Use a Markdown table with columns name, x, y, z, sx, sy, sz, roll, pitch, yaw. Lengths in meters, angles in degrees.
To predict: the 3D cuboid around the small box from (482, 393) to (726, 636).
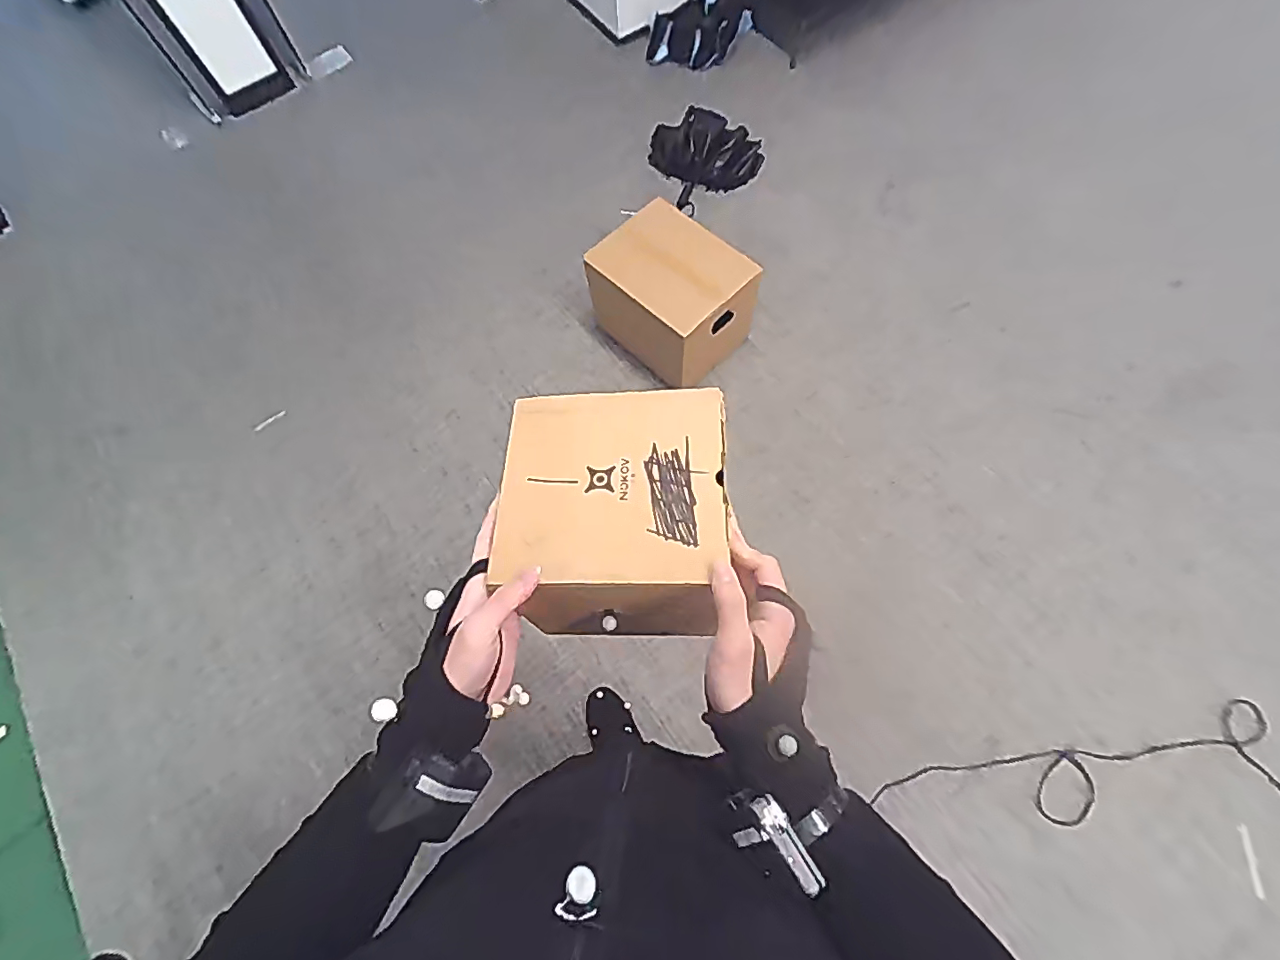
| name | x | y | z | sx | sy | sz | roll | pitch | yaw |
| --- | --- | --- | --- | --- | --- | --- | --- | --- | --- |
| small box | -0.017 | 0.039 | 0.485 | 0.179 | 0.176 | 0.168 | -2 | 62 | 7 |
